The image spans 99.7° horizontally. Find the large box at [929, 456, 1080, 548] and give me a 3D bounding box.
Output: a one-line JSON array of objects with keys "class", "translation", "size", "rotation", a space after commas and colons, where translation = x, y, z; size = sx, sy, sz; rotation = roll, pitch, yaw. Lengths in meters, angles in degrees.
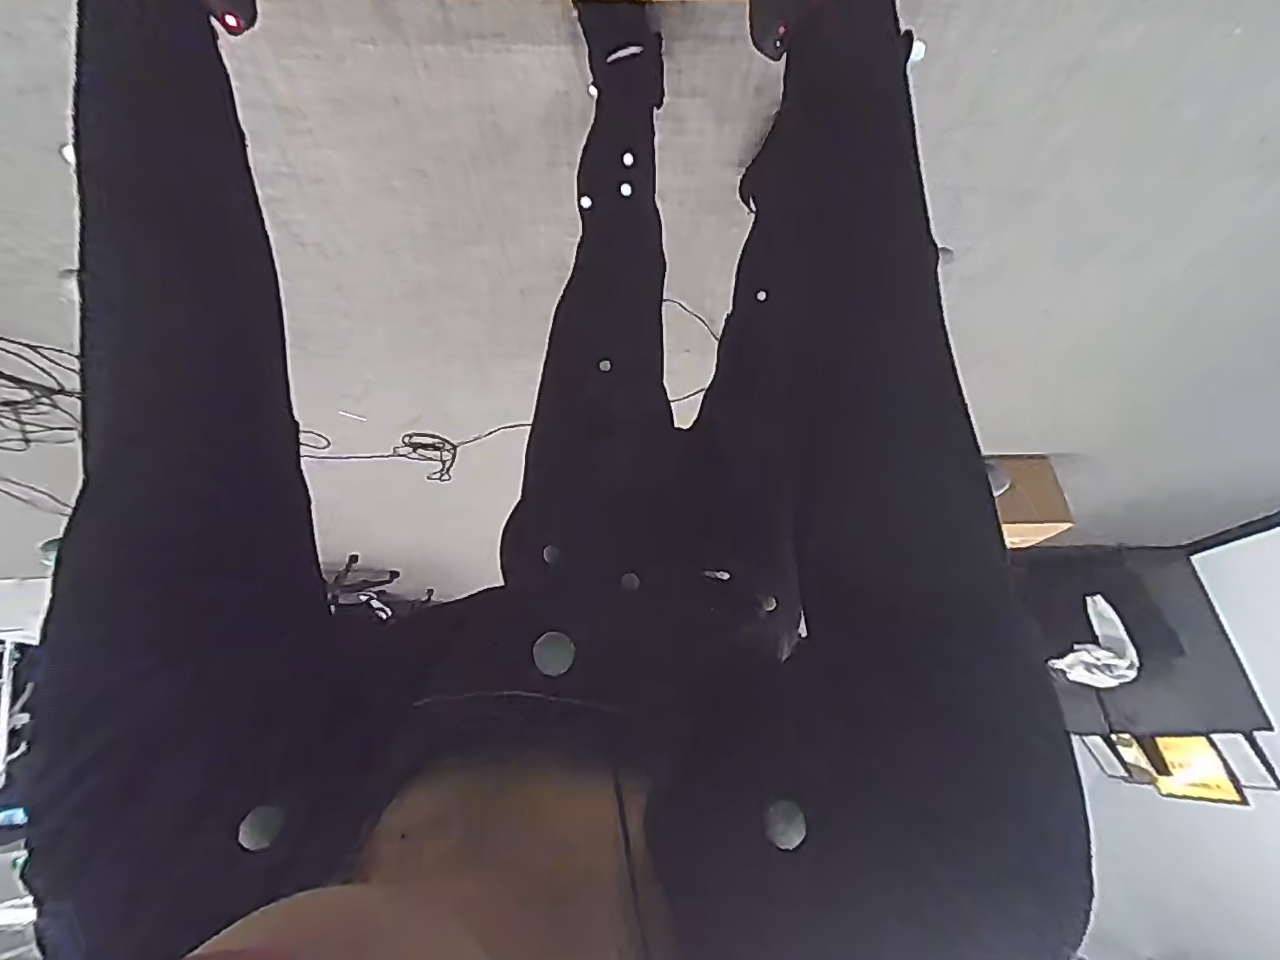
[{"class": "large box", "translation": [1.575, 0.101, 2.380], "size": [0.408, 0.320, 0.320], "rotation": [-1, 155, -3]}]
